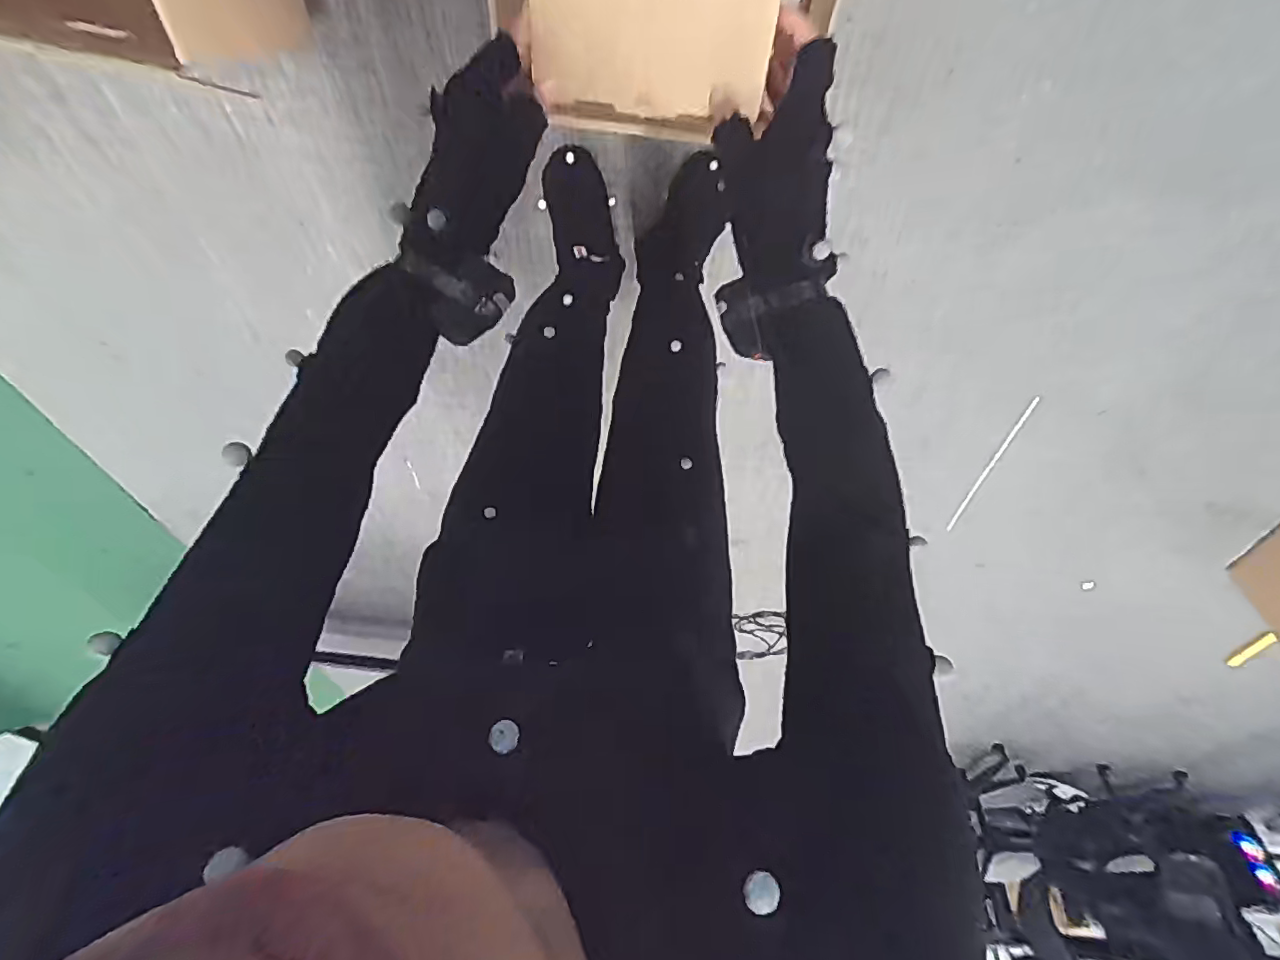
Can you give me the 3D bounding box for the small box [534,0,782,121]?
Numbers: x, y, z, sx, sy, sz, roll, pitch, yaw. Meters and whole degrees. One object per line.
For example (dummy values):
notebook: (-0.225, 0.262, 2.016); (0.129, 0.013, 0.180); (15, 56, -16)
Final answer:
small box: (0.022, -0.388, 0.400); (0.168, 0.176, 0.179); (8, 131, 2)
